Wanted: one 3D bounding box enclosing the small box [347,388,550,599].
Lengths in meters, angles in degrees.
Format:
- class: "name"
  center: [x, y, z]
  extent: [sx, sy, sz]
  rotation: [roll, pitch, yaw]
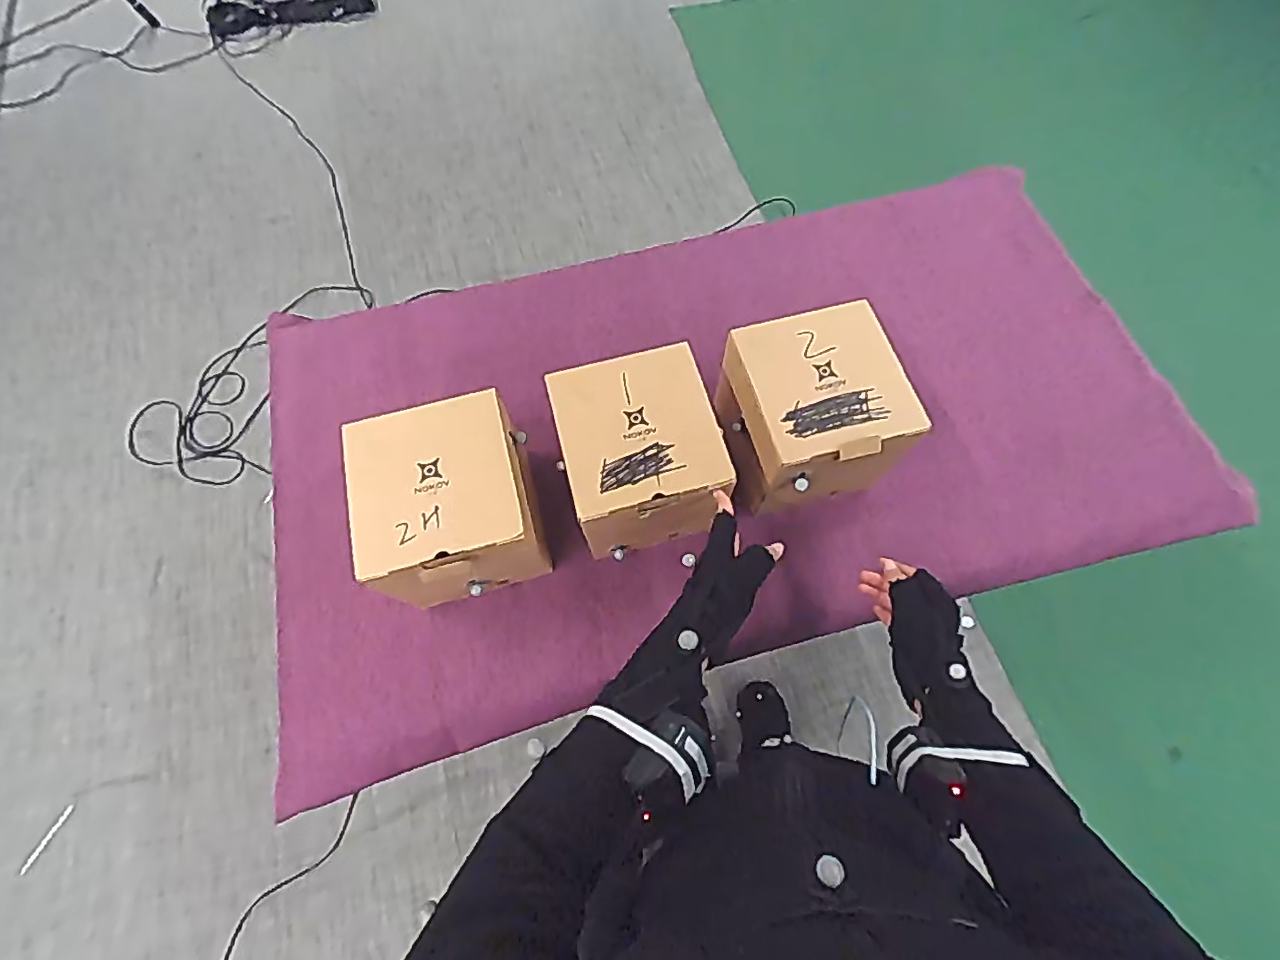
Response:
- class: "small box"
  center: [-0.211, 0.024, 0.627]
  extent: [0.168, 0.176, 0.179]
  rotation: [-15, 70, -4]
